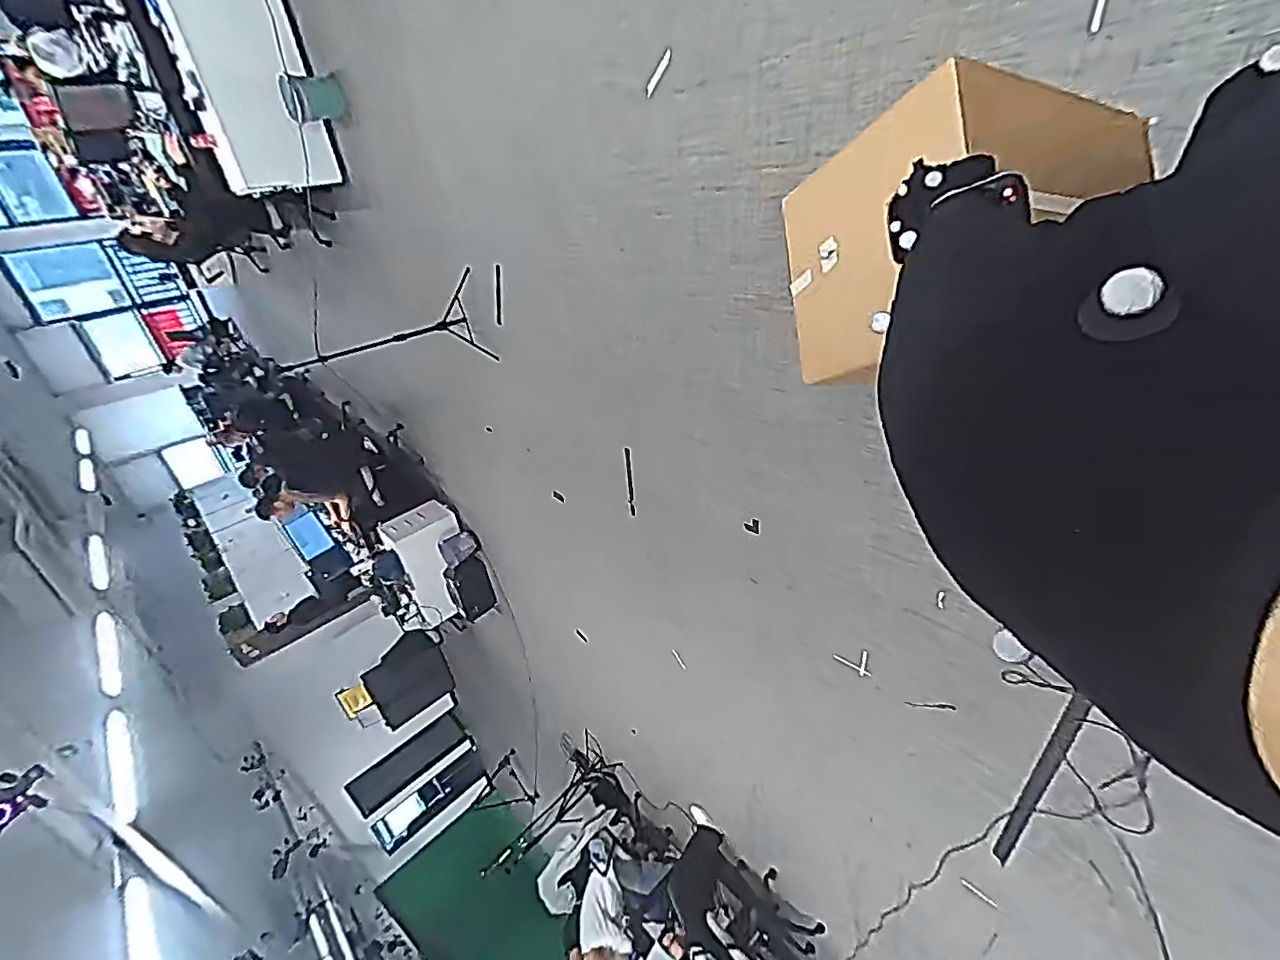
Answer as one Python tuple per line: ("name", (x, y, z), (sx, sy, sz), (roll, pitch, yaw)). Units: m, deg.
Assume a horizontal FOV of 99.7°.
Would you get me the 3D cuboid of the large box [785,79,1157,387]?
("large box", (0.496, -0.336, 0.849), (0.320, 0.408, 0.320), (172, 92, -66))
